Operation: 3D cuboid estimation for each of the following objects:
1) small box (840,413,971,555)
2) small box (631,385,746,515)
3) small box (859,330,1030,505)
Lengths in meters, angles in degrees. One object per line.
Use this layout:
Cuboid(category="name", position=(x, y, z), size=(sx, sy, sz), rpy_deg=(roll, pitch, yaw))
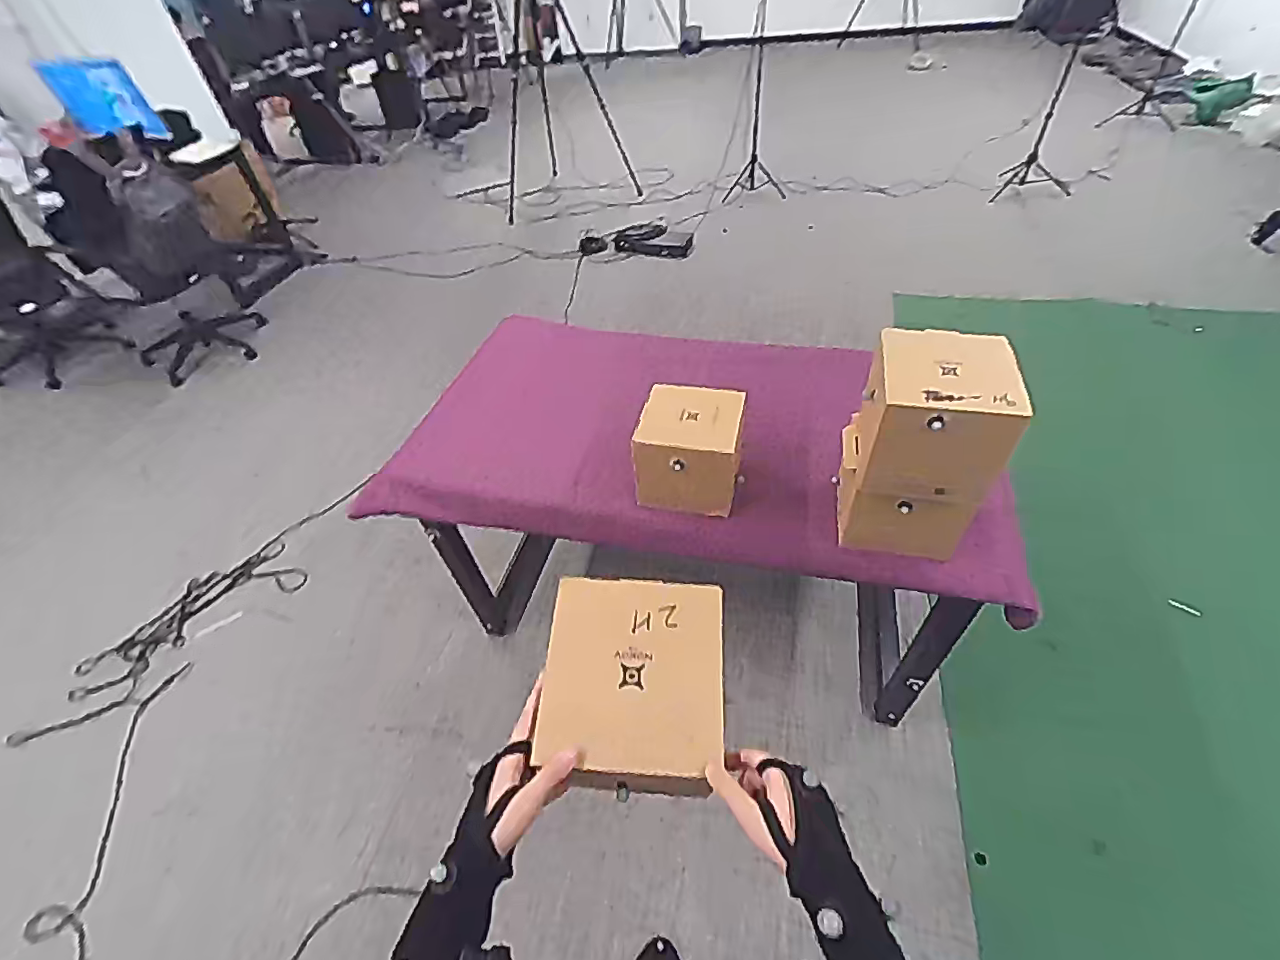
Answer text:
Cuboid(category="small box", position=(0.434, 0.008, 0.901), size=(0.179, 0.176, 0.168), rpy_deg=(6, 48, 12))
Cuboid(category="small box", position=(0.094, -0.054, 1.001), size=(0.179, 0.176, 0.168), rpy_deg=(8, 47, 14))
Cuboid(category="small box", position=(0.413, -0.091, 0.771), size=(0.168, 0.176, 0.179), rpy_deg=(7, 48, 14))
